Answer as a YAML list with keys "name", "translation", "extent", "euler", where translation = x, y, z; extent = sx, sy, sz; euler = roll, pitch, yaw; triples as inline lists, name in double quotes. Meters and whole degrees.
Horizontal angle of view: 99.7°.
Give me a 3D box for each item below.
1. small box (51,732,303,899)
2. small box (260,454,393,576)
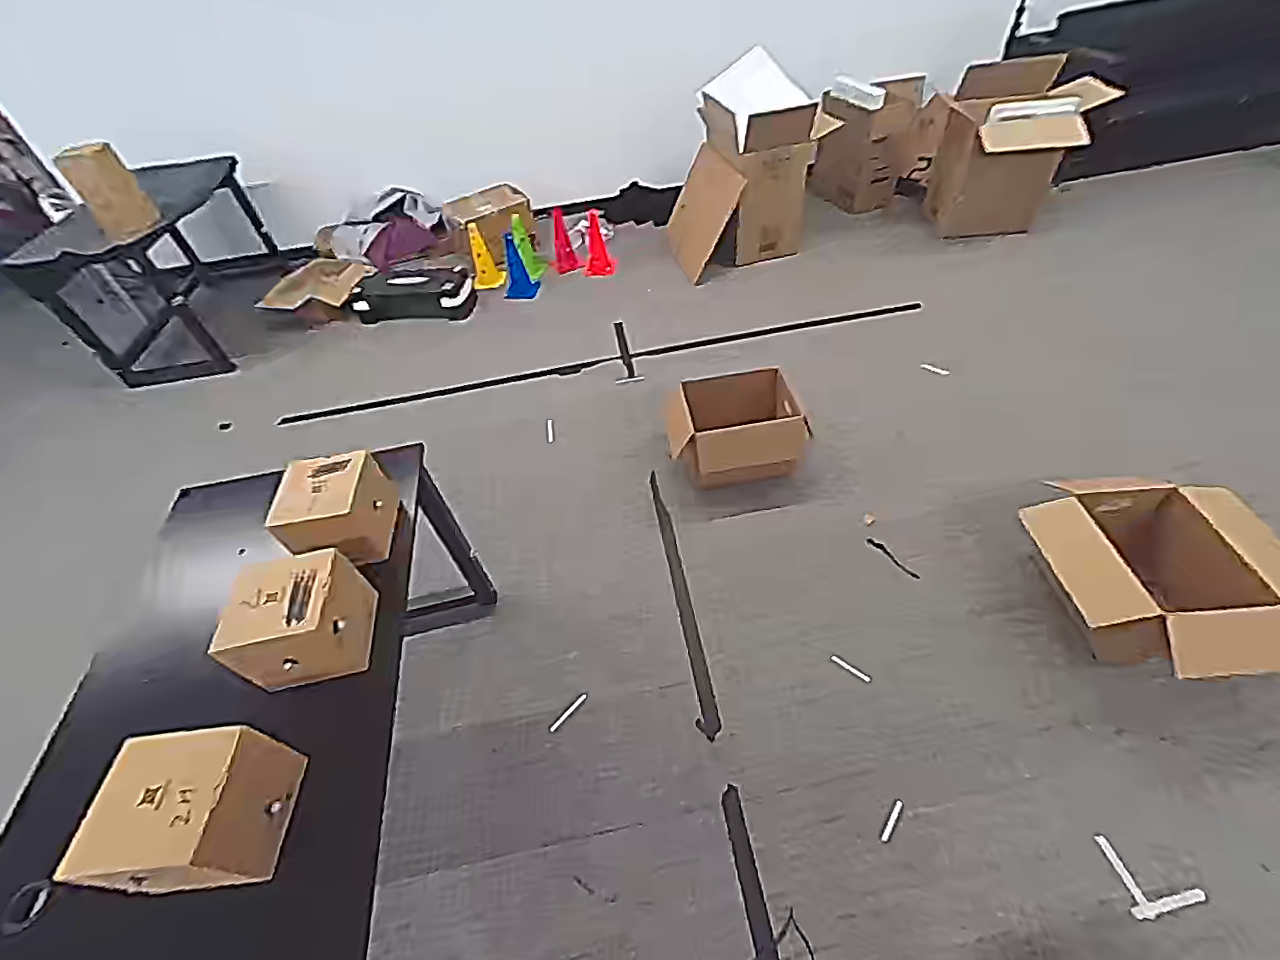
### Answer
- name: "small box"
  translation: [-0.631, 0.479, 0.768]
  extent: [0.179, 0.176, 0.168]
  euler: [-7, 48, 1]
- name: "small box"
  translation: [-0.640, 0.075, 1.131]
  extent: [0.168, 0.176, 0.179]
  euler: [-11, 49, -1]
